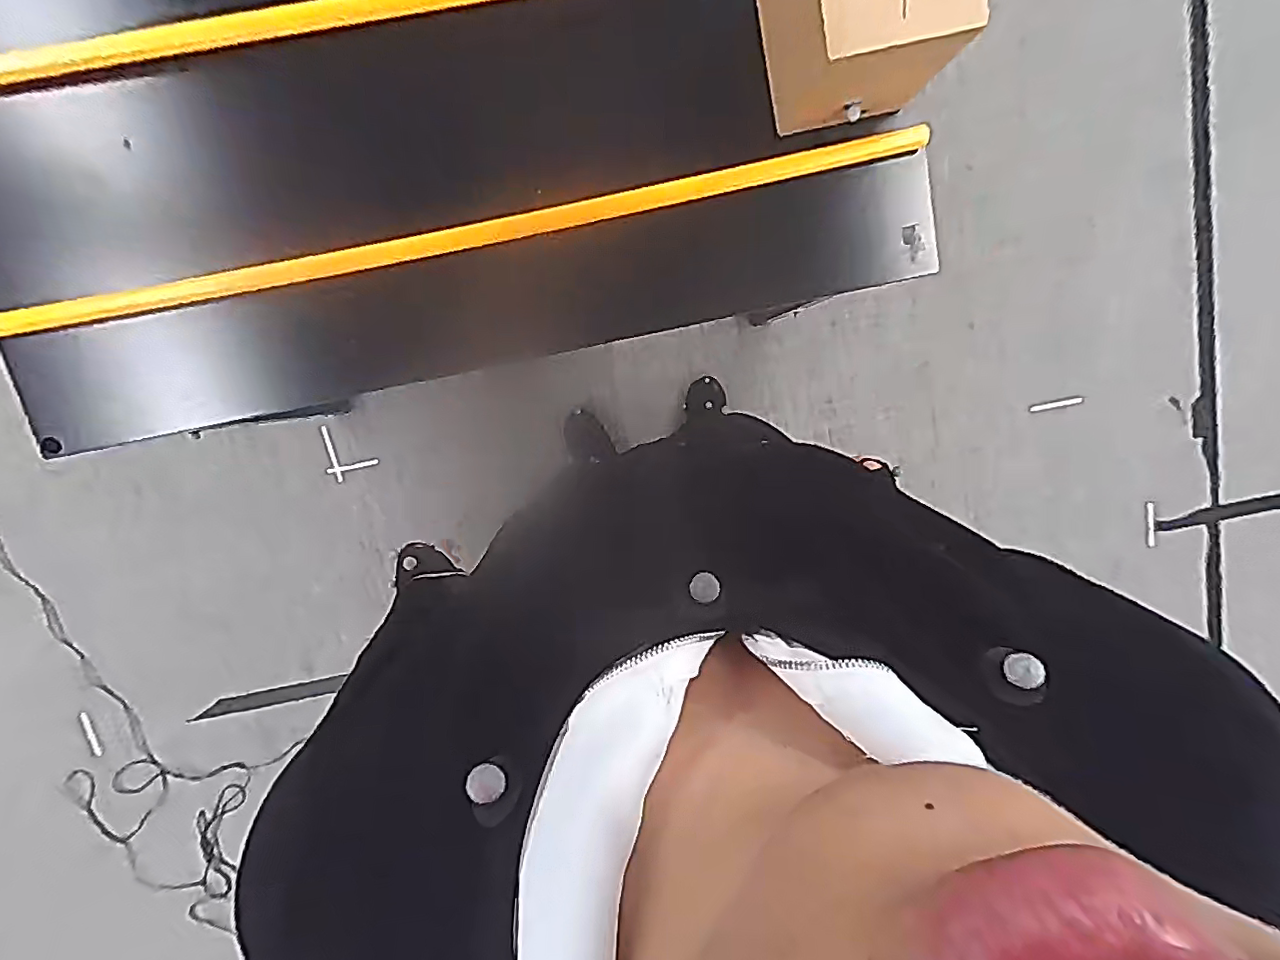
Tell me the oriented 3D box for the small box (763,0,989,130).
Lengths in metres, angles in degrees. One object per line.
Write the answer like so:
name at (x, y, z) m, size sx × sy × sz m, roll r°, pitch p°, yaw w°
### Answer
small box at (0.244, -0.530, 0.597) m, size 0.168 × 0.176 × 0.179 m, roll -12°, pitch 101°, yaw 0°
